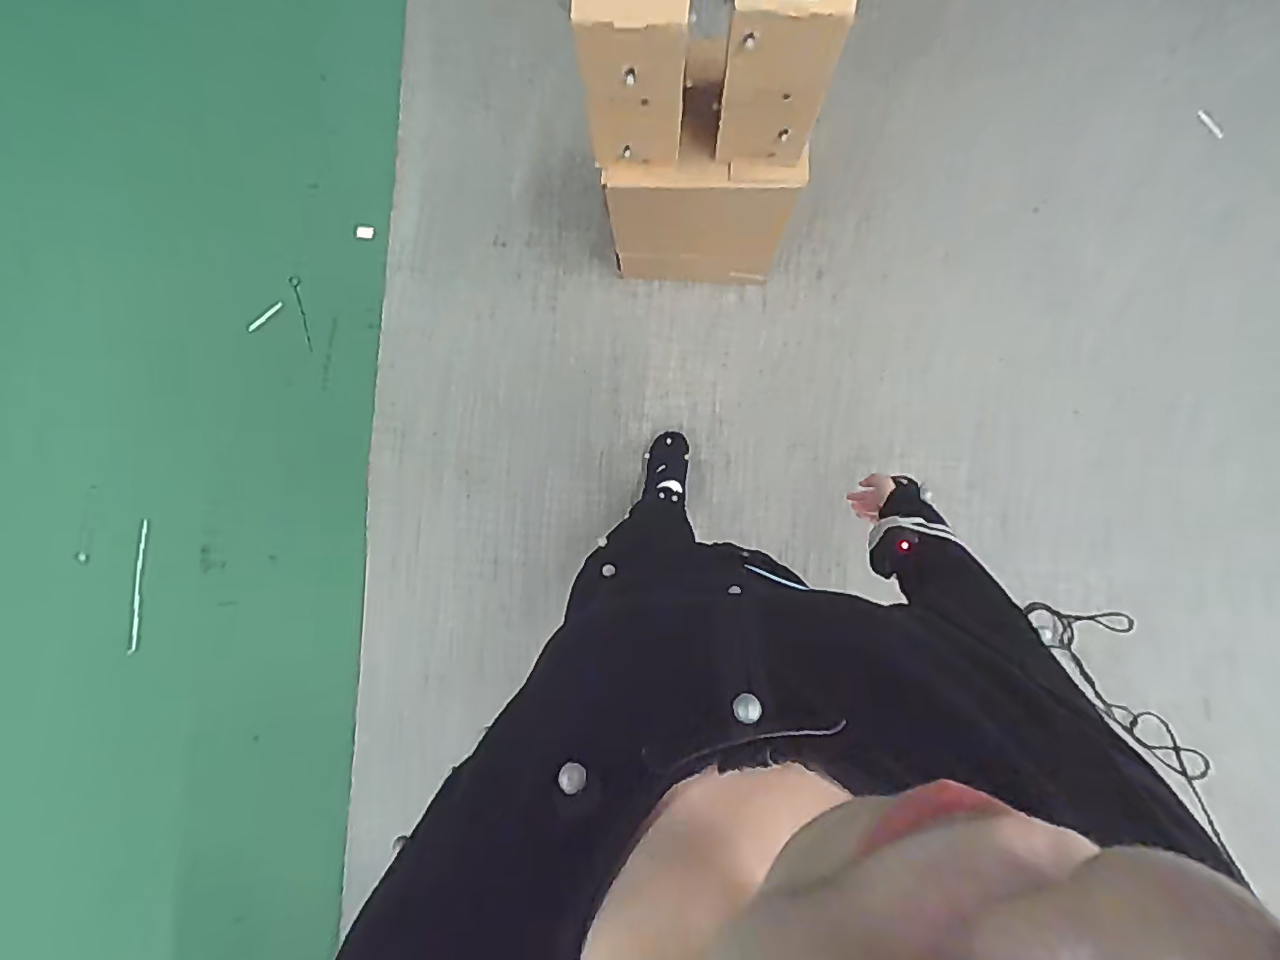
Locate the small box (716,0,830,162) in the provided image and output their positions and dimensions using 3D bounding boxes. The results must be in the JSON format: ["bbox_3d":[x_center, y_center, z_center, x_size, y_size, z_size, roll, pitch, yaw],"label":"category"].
[{"bbox_3d":[0.232,-0.711,0.981,0.168,0.176,0.179,6,87,3],"label":"small box"}]

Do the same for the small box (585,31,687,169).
[{"bbox_3d":[-0.006,-0.710,0.991,0.168,0.176,0.179,3,89,1],"label":"small box"}]

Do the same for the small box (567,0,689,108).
[{"bbox_3d":[-0.011,-0.709,0.827,0.168,0.176,0.179,4,89,1],"label":"small box"}]
